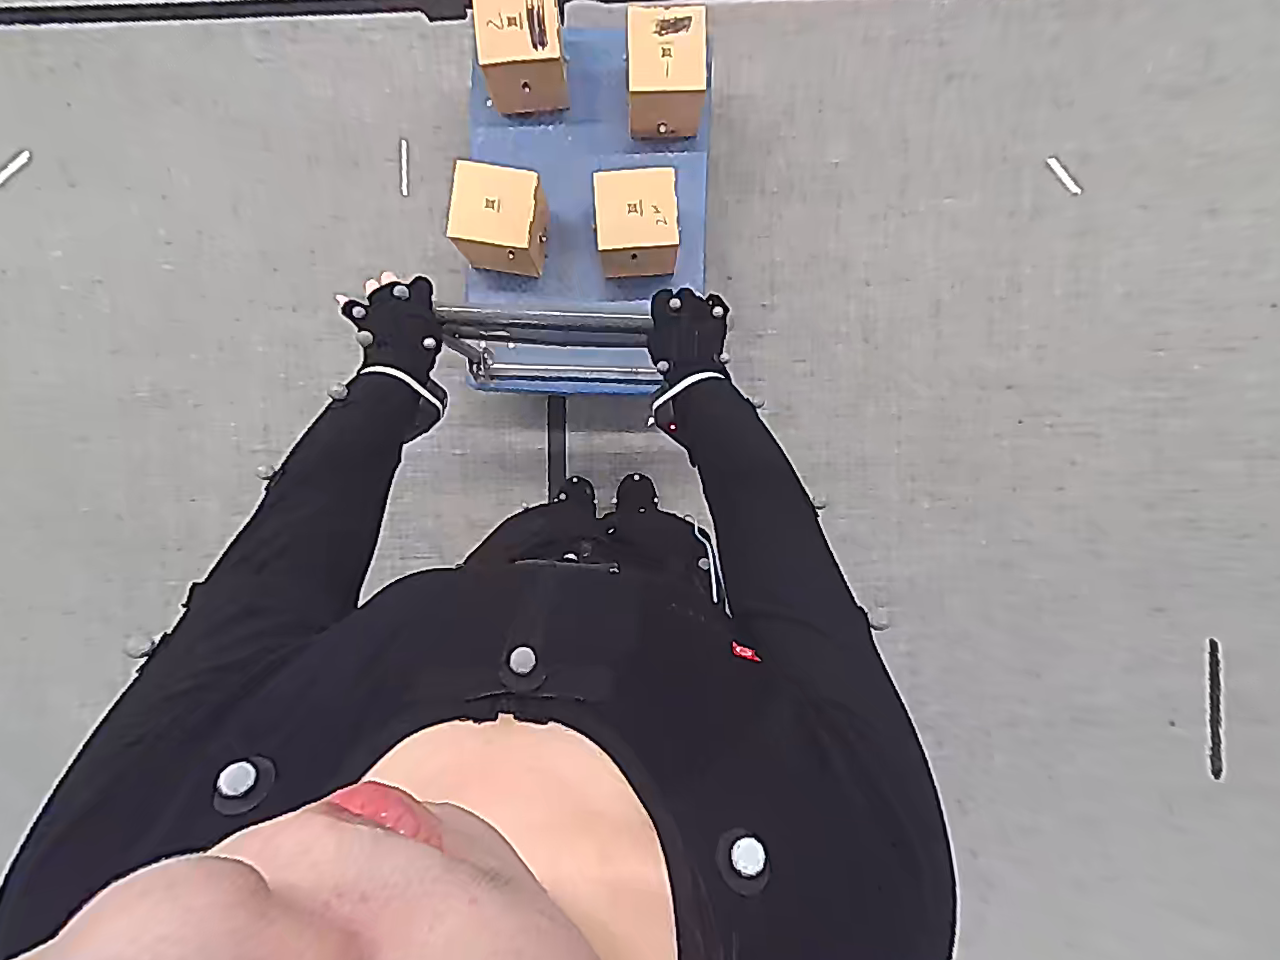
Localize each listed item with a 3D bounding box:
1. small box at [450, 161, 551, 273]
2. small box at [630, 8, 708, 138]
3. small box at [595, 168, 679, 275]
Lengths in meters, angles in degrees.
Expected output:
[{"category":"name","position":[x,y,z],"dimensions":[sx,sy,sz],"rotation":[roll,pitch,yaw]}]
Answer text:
[{"category":"small box","position":[-0.309,-0.588,1.229],"dimensions":[0.179,0.176,0.168],"rotation":[8,91,-2]},{"category":"small box","position":[0.060,-0.912,1.222],"dimensions":[0.168,0.176,0.179],"rotation":[-1,92,0]},{"category":"small box","position":[-0.005,-0.579,1.230],"dimensions":[0.179,0.176,0.168],"rotation":[-3,91,0]}]
